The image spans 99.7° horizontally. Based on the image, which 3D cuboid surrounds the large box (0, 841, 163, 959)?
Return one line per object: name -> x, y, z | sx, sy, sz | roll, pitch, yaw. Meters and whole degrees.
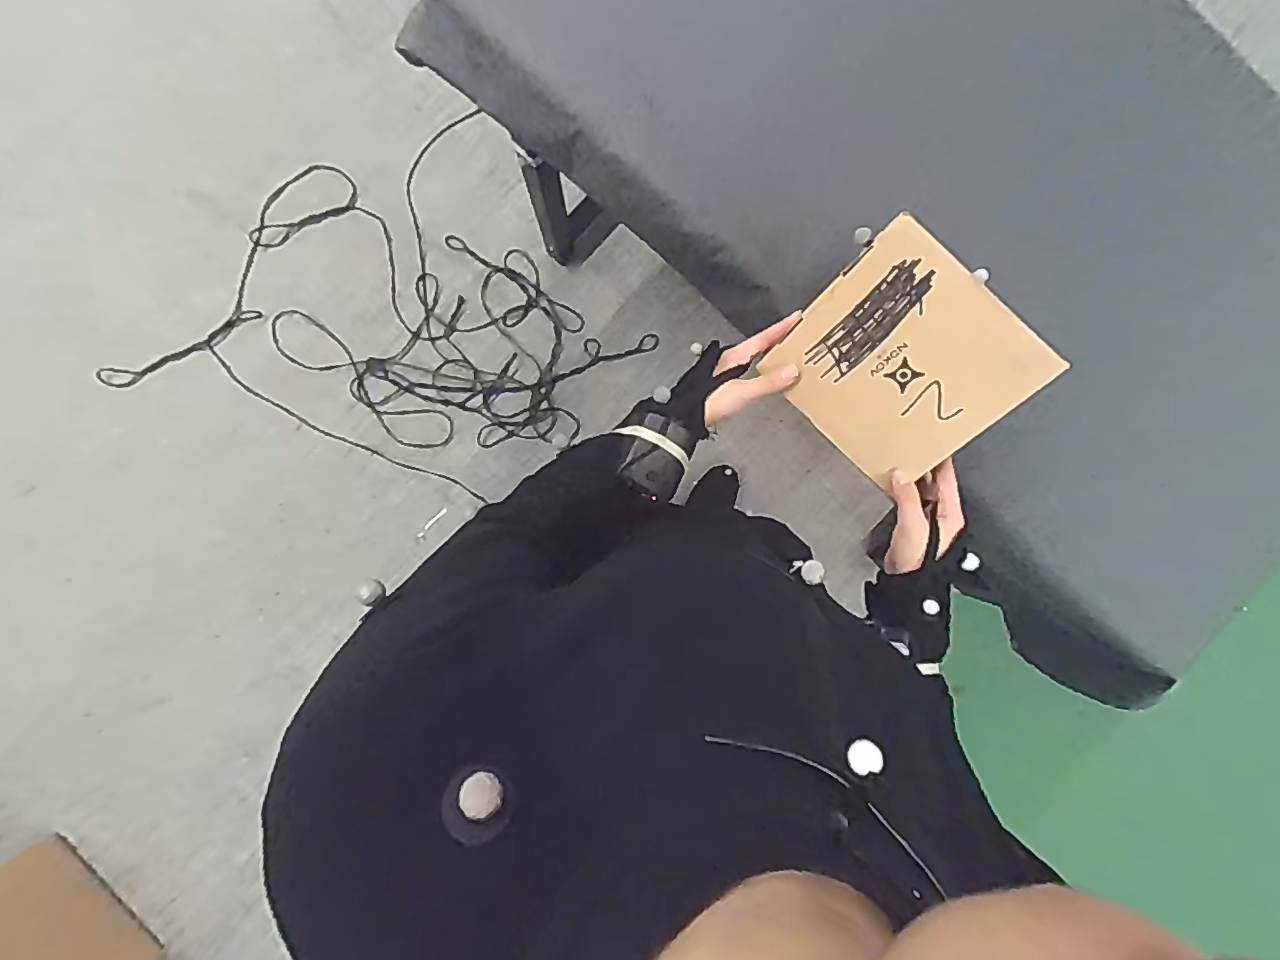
large box -> -1.375, 1.100, 1.142 | 0.320, 0.320, 0.408 | -42, 90, -3
